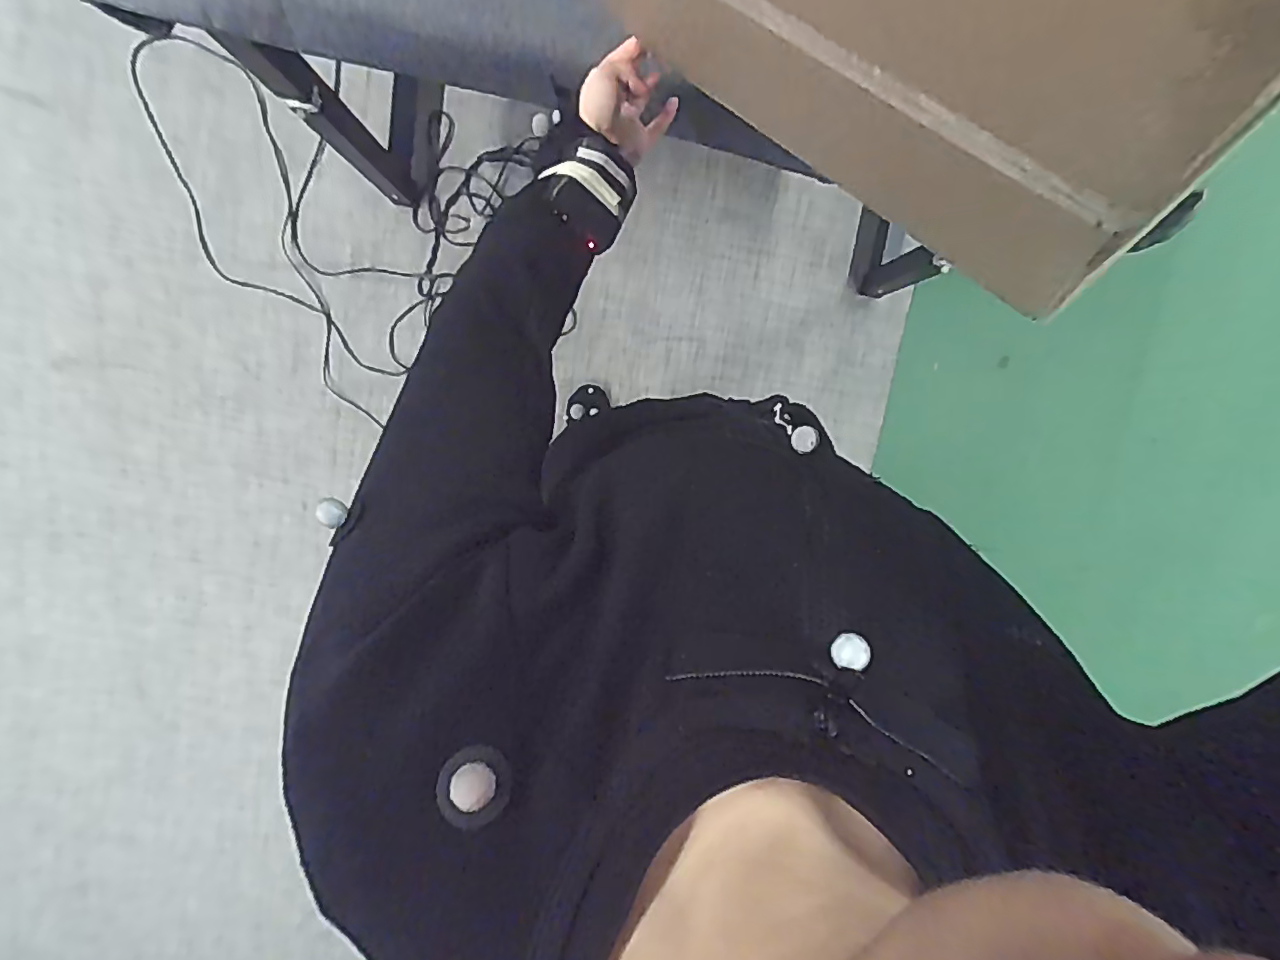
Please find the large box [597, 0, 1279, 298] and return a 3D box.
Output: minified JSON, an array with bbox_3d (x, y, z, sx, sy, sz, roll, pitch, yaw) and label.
[{"bbox_3d":[0.156,-0.351,0.231,0.408,0.320,0.320,45,107,18],"label":"large box"}]
